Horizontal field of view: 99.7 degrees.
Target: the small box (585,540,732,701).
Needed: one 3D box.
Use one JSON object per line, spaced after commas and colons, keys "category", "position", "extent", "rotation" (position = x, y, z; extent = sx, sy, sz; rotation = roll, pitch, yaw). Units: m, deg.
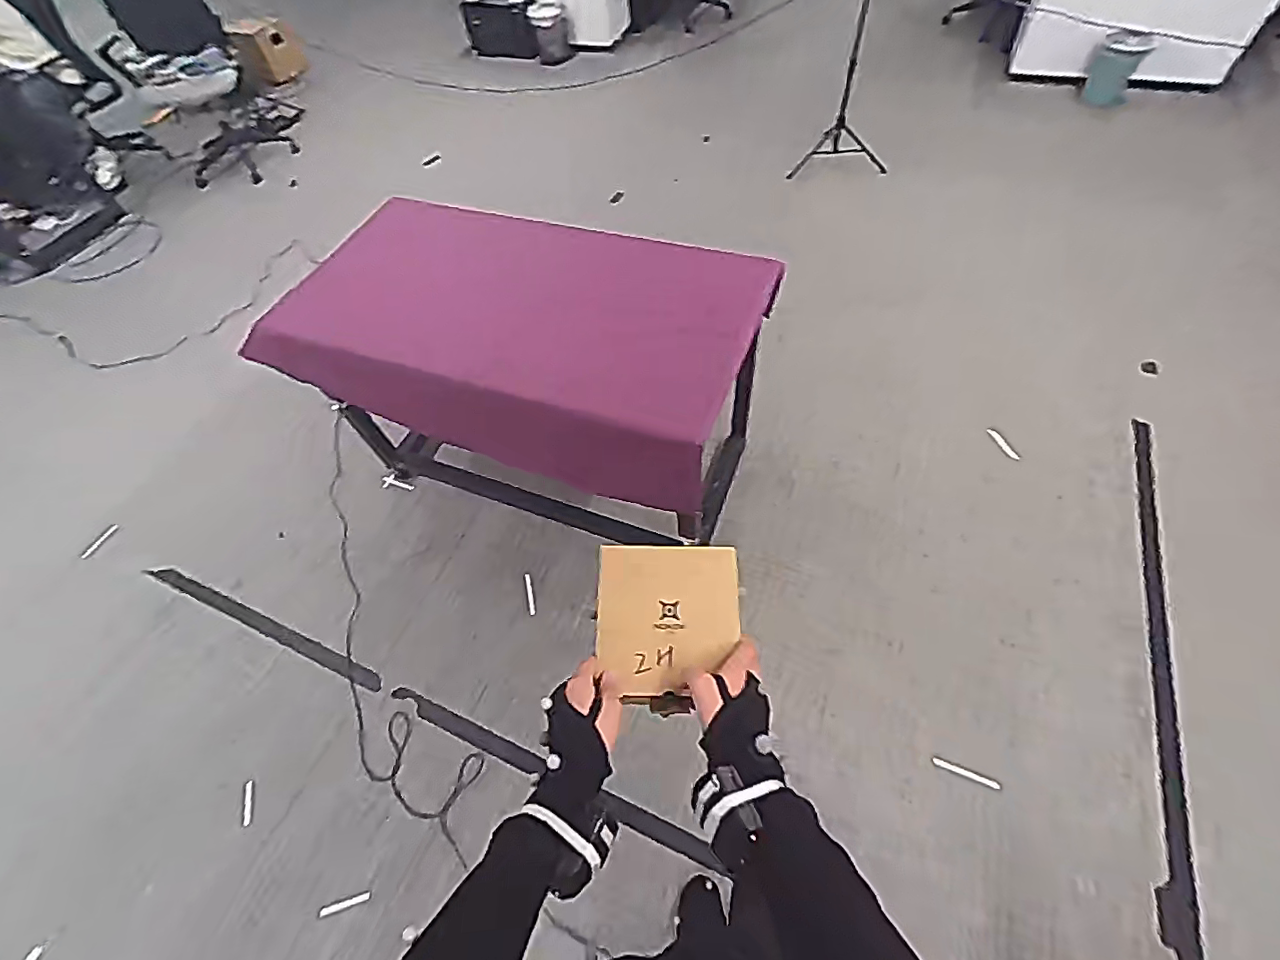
{"category": "small box", "position": [0.021, 0.187, 0.698], "extent": [0.168, 0.176, 0.179], "rotation": [-1, 66, 1]}
